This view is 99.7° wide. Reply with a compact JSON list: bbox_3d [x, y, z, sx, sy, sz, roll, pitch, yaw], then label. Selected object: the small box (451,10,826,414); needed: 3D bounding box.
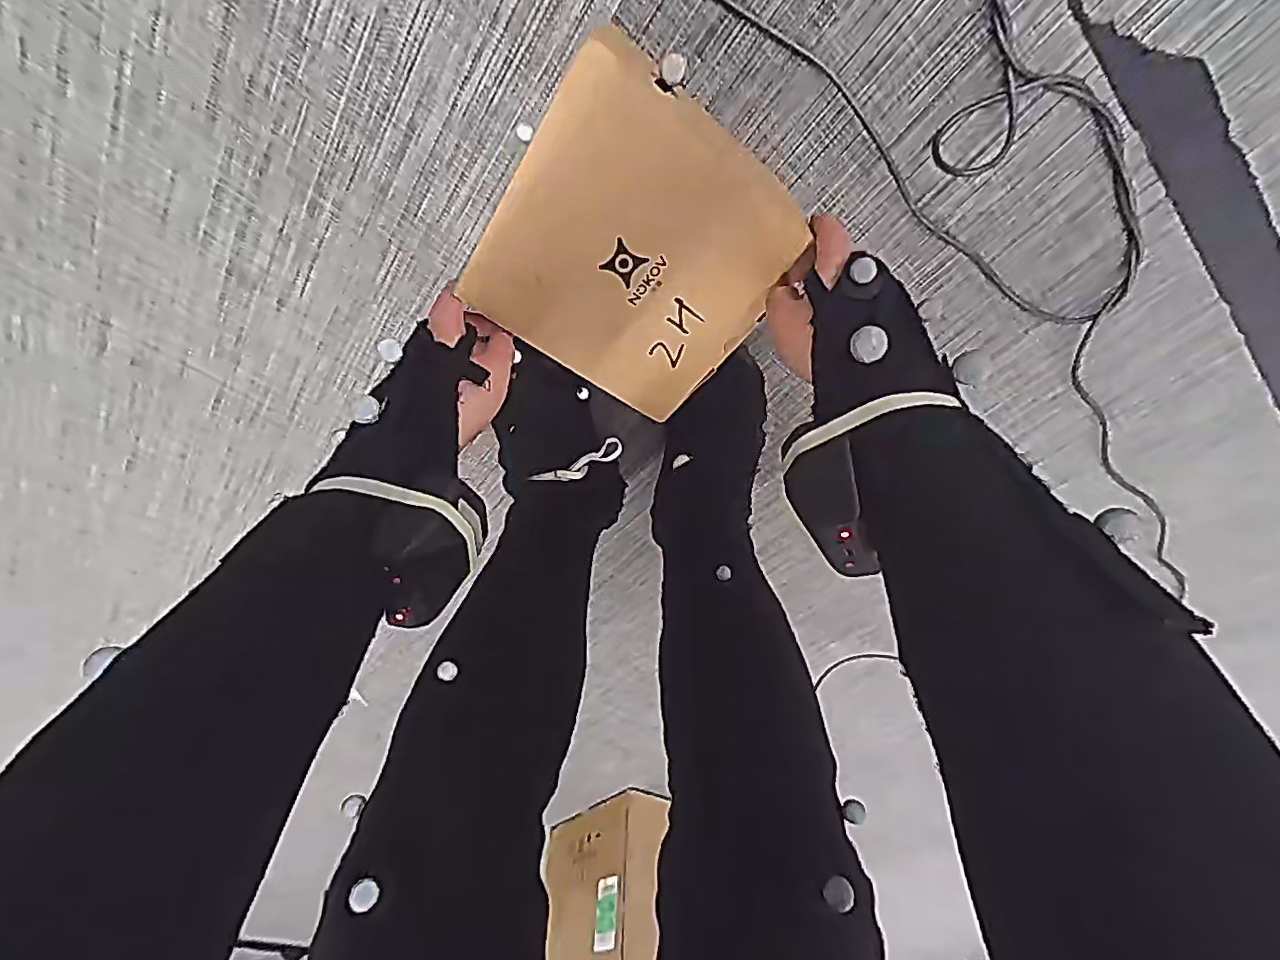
[{"bbox_3d":[-0.004,-0.187,0.392,0.179,0.176,0.168,29,126,-23],"label":"small box"}]
